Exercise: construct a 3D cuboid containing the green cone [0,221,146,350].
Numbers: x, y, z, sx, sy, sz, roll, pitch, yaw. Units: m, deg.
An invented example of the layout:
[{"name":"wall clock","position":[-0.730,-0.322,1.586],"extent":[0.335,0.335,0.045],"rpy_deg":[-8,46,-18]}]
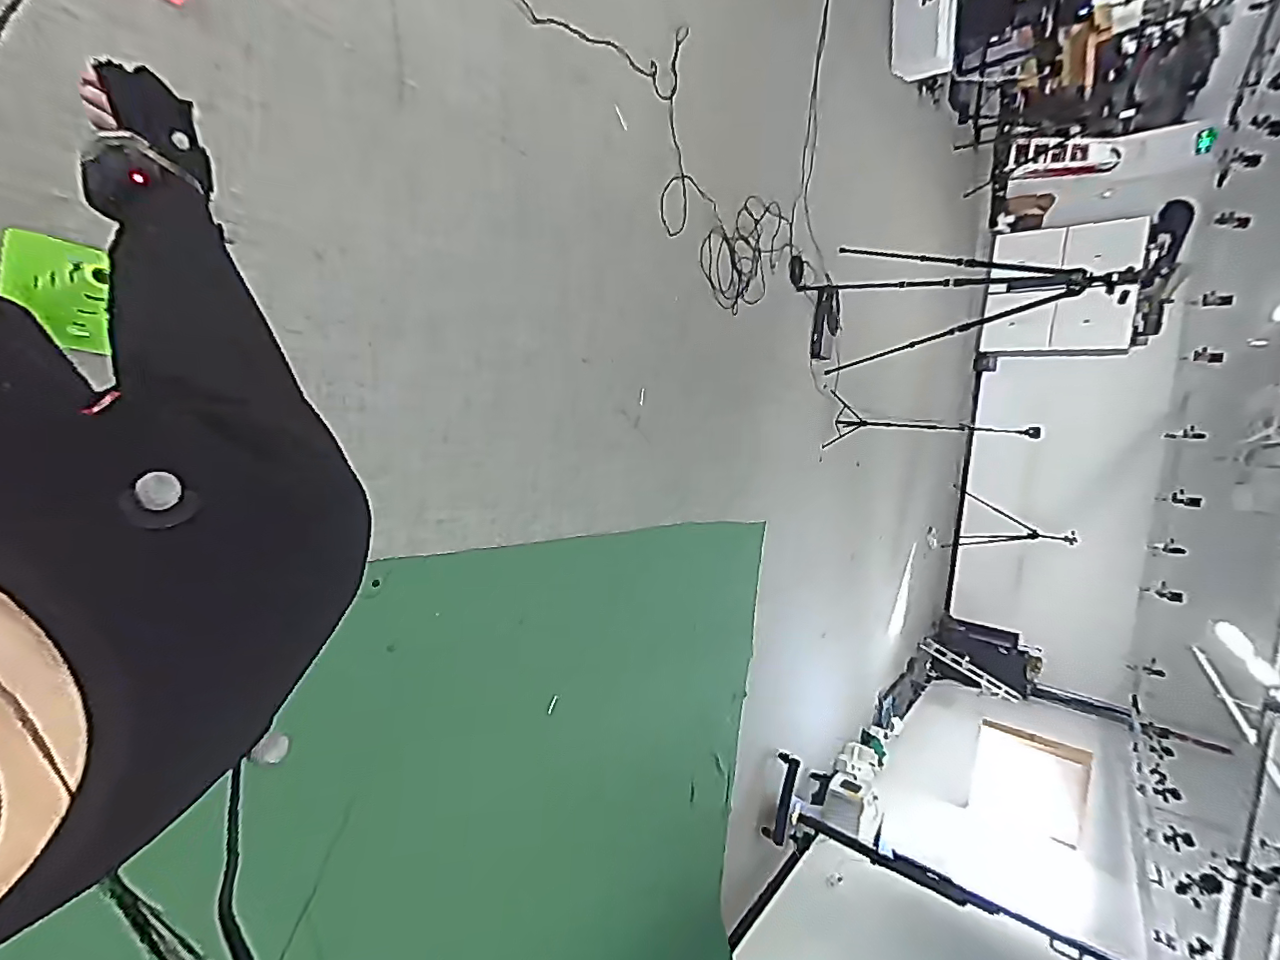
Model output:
[{"name":"green cone","position":[-0.960,-0.349,0.937],"extent":[0.200,0.368,0.202],"rpy_deg":[4,93,-52]}]
